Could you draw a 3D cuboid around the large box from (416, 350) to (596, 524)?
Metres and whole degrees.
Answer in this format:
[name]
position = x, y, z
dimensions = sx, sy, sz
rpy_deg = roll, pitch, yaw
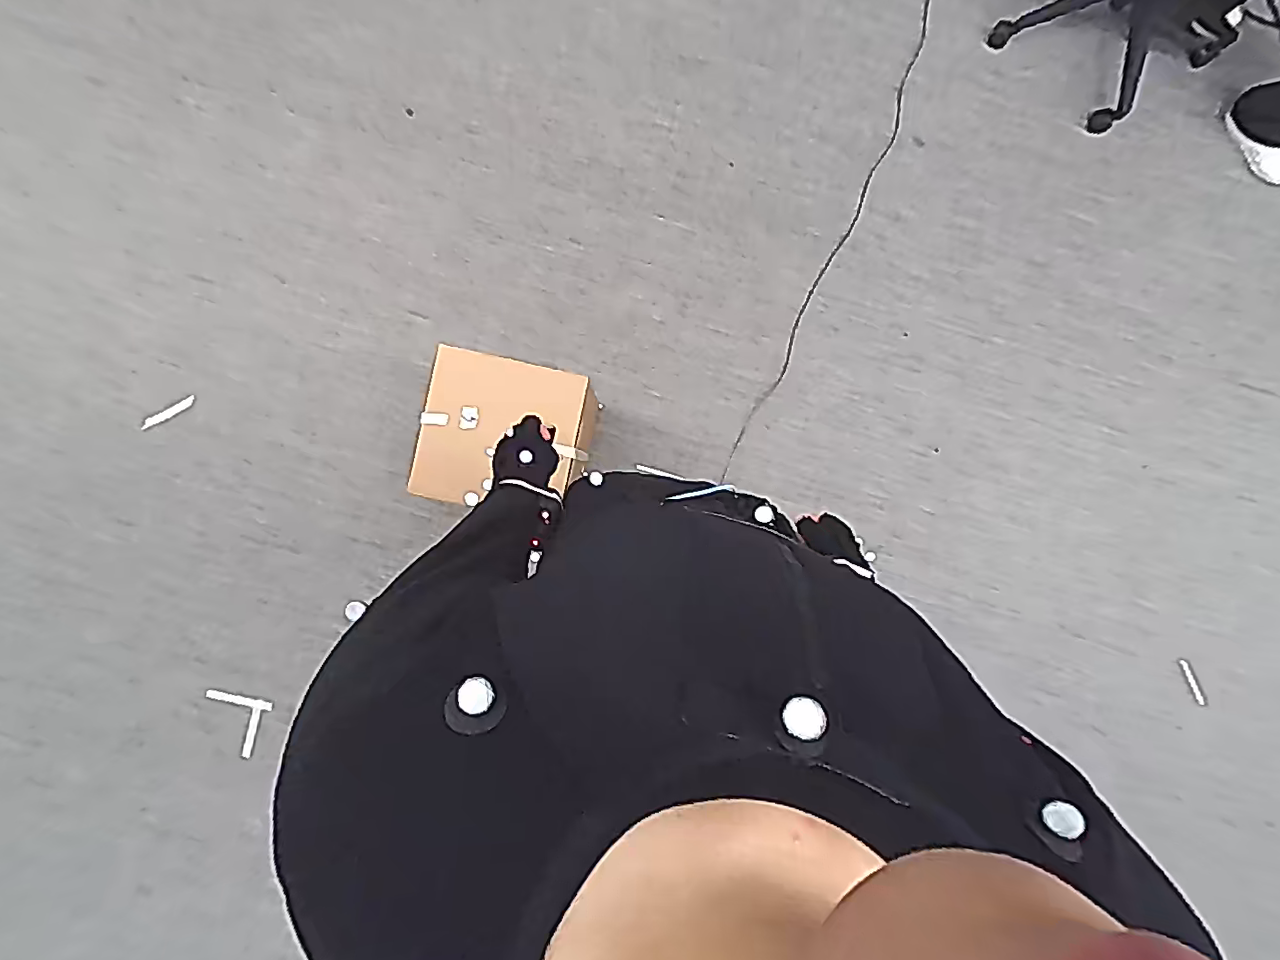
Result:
[large box]
position = -0.293, -0.098, 1.294
dimensions = 0.320, 0.408, 0.320
rpy_deg = 13, 91, -3
